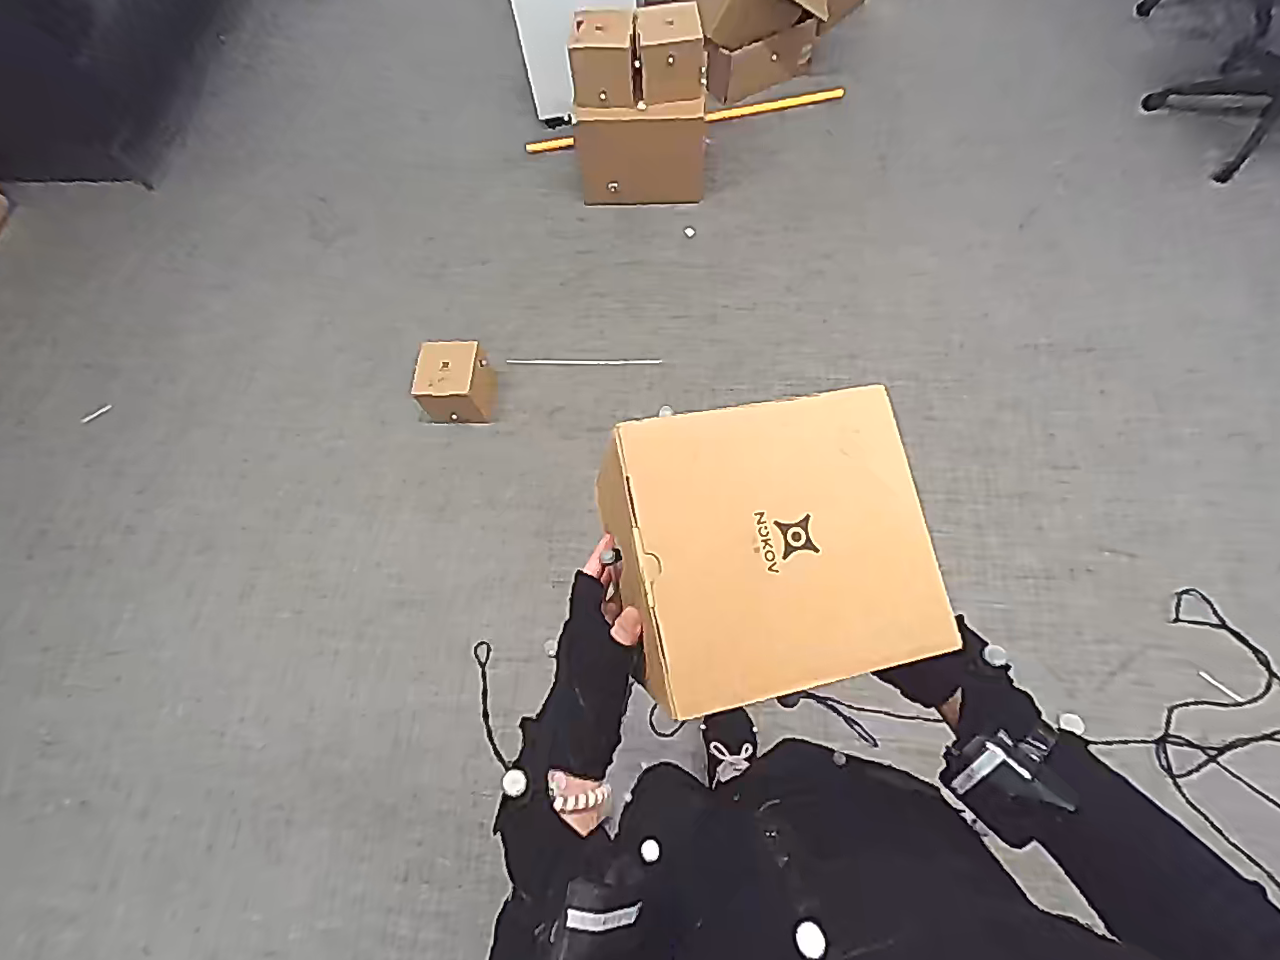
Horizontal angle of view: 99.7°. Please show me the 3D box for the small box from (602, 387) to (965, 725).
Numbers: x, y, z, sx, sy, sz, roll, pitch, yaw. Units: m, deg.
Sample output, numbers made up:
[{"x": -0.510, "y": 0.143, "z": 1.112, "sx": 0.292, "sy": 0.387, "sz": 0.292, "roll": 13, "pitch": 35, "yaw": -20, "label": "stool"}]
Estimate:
[{"x": 0.076, "y": 0.049, "z": 0.383, "sx": 0.179, "sy": 0.176, "sz": 0.168, "roll": -10, "pitch": 80, "yaw": -9, "label": "small box"}]

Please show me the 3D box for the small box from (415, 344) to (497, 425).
[{"x": -0.527, "y": -0.277, "z": 1.577, "sx": 0.168, "sy": 0.176, "sz": 0.179, "roll": 0, "pitch": 69, "yaw": 5, "label": "small box"}]
